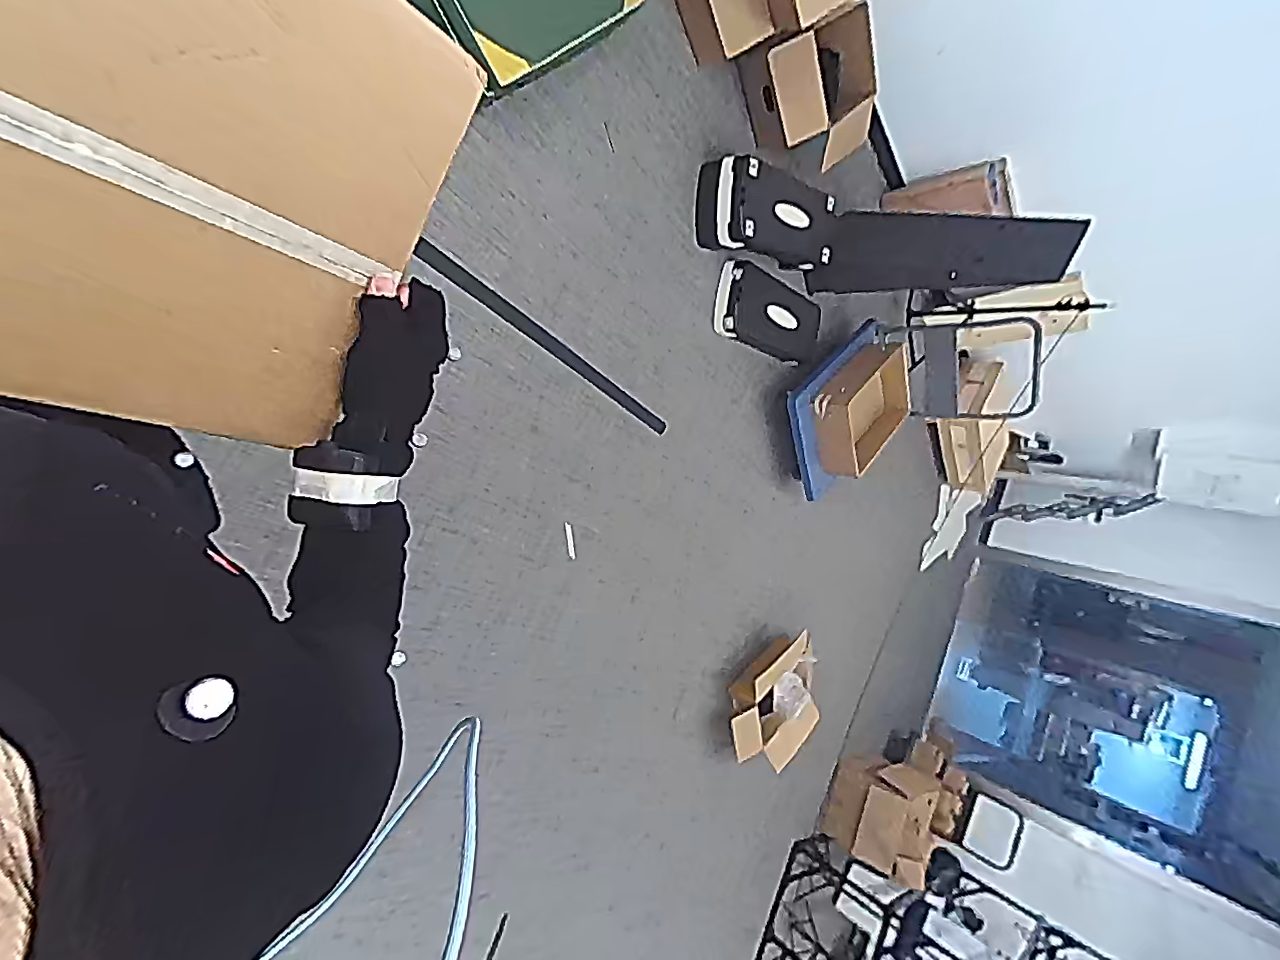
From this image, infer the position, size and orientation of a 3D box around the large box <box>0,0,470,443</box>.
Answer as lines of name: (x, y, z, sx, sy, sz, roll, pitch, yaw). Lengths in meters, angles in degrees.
large box: (-0.402, -0.267, 0.353, 0.408, 0.320, 0.320, 14, 117, -47)
